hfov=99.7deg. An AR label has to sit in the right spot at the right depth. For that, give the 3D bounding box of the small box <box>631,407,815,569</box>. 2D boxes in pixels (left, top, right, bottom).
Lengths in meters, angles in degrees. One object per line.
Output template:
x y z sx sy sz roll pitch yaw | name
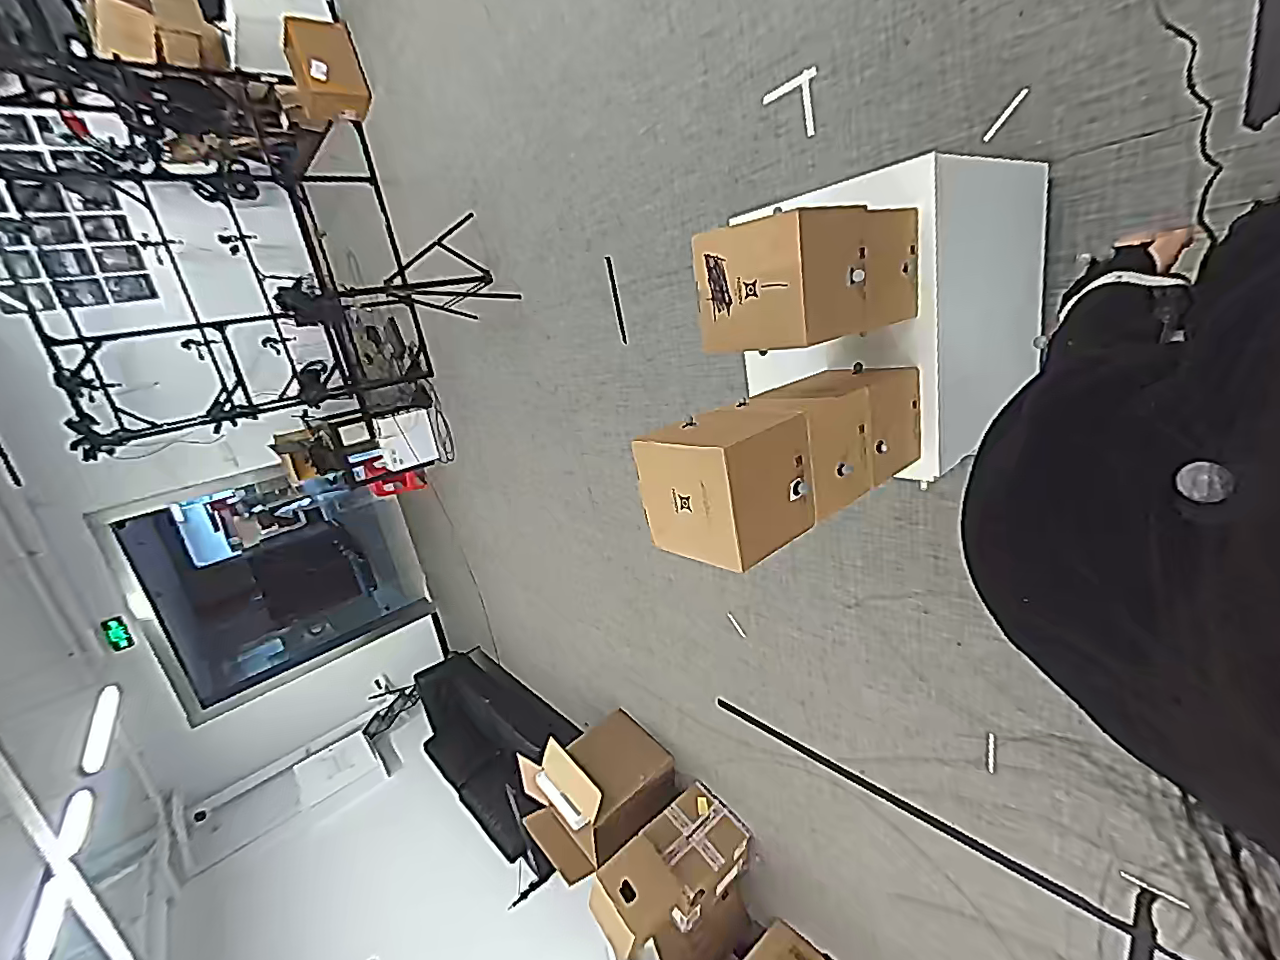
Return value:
0.116 -0.001 0.750 0.179 0.176 0.168 8 116 50 | small box

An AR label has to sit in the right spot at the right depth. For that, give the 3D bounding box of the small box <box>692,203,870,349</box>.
0.200 -0.282 0.762 0.179 0.176 0.168 12 119 48 | small box

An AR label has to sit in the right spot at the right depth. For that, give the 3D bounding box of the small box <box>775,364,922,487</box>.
0.361 -0.102 0.937 0.179 0.176 0.168 12 119 51 | small box

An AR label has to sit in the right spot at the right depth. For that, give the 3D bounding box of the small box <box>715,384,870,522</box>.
0.240 -0.051 0.842 0.179 0.176 0.168 10 116 51 | small box
